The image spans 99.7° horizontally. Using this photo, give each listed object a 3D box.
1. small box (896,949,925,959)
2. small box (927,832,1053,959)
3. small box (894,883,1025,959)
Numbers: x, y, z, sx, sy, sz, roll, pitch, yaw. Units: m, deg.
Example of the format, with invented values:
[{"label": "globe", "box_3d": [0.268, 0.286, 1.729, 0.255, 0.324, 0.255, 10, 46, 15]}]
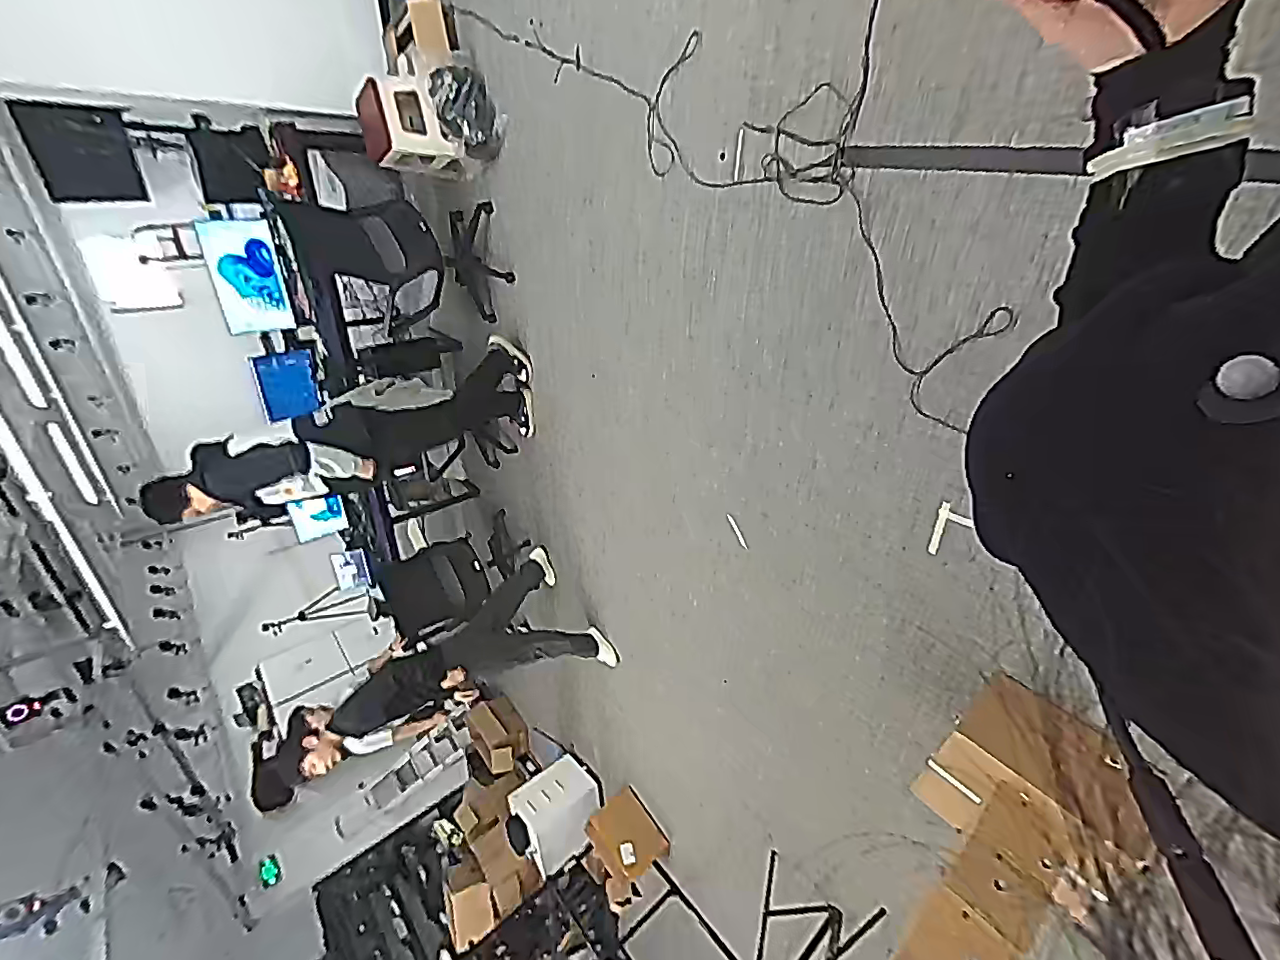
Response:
[{"label": "small box", "box_3d": [0.506, 1.015, 0.982, 0.168, 0.176, 0.179, 33, 134, 39]}, {"label": "small box", "box_3d": [0.752, 0.913, 1.168, 0.168, 0.176, 0.179, 35, 133, 37]}, {"label": "small box", "box_3d": [0.628, 0.960, 1.074, 0.168, 0.176, 0.179, 33, 133, 38]}]
